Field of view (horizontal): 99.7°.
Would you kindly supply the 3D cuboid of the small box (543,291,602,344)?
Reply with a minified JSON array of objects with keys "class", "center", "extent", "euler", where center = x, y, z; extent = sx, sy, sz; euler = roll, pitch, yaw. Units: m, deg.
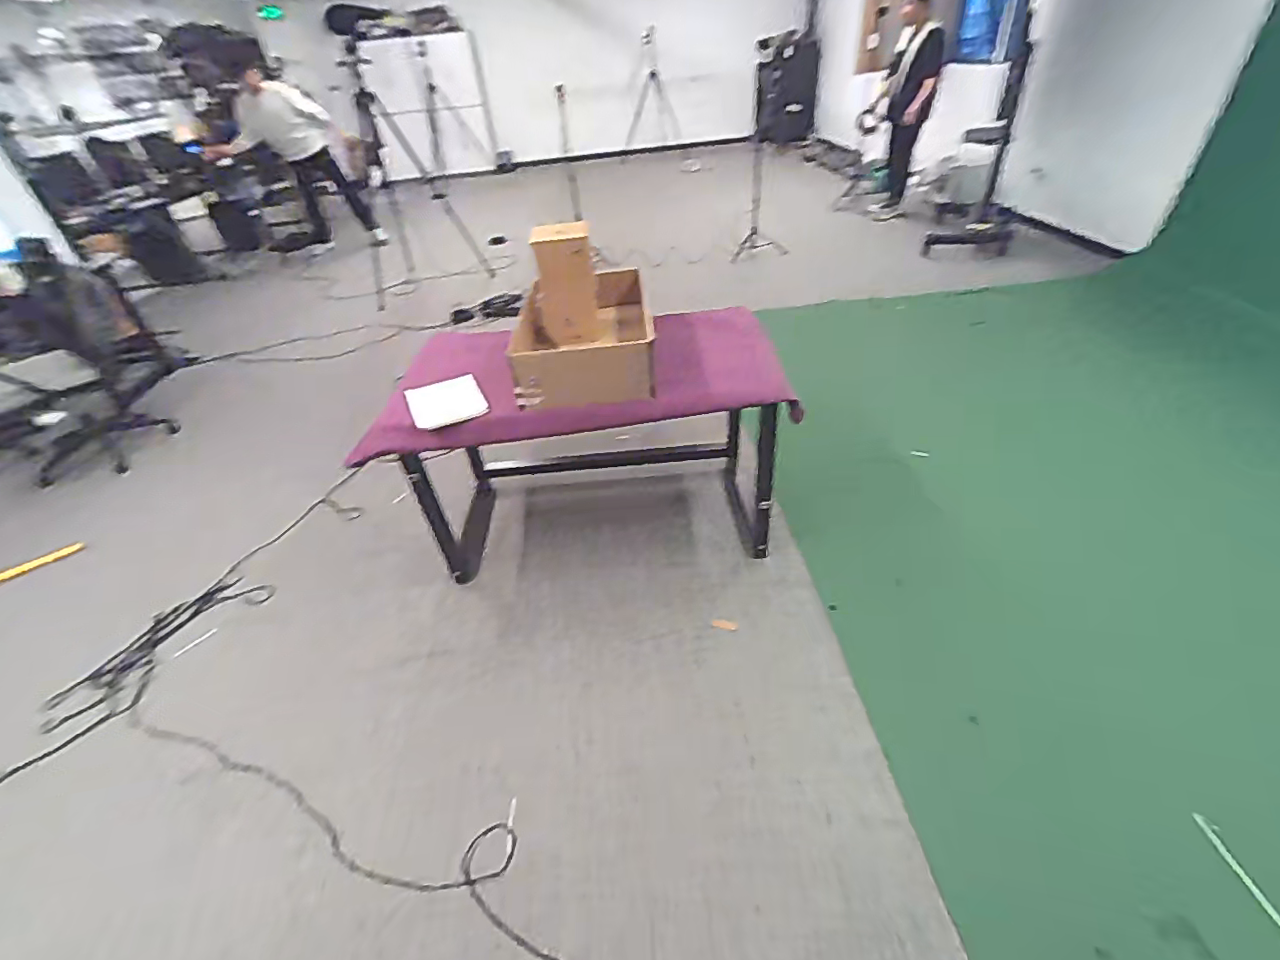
[{"class":"small box","center":[-0.219,-0.563,1.807],"extent":[0.168,0.176,0.179],"euler":[-5,40,2]}]

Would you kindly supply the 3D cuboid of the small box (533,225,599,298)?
[{"class":"small box","center":[-0.227,-0.686,1.701],"extent":[0.179,0.176,0.168],"euler":[-6,40,0]}]
